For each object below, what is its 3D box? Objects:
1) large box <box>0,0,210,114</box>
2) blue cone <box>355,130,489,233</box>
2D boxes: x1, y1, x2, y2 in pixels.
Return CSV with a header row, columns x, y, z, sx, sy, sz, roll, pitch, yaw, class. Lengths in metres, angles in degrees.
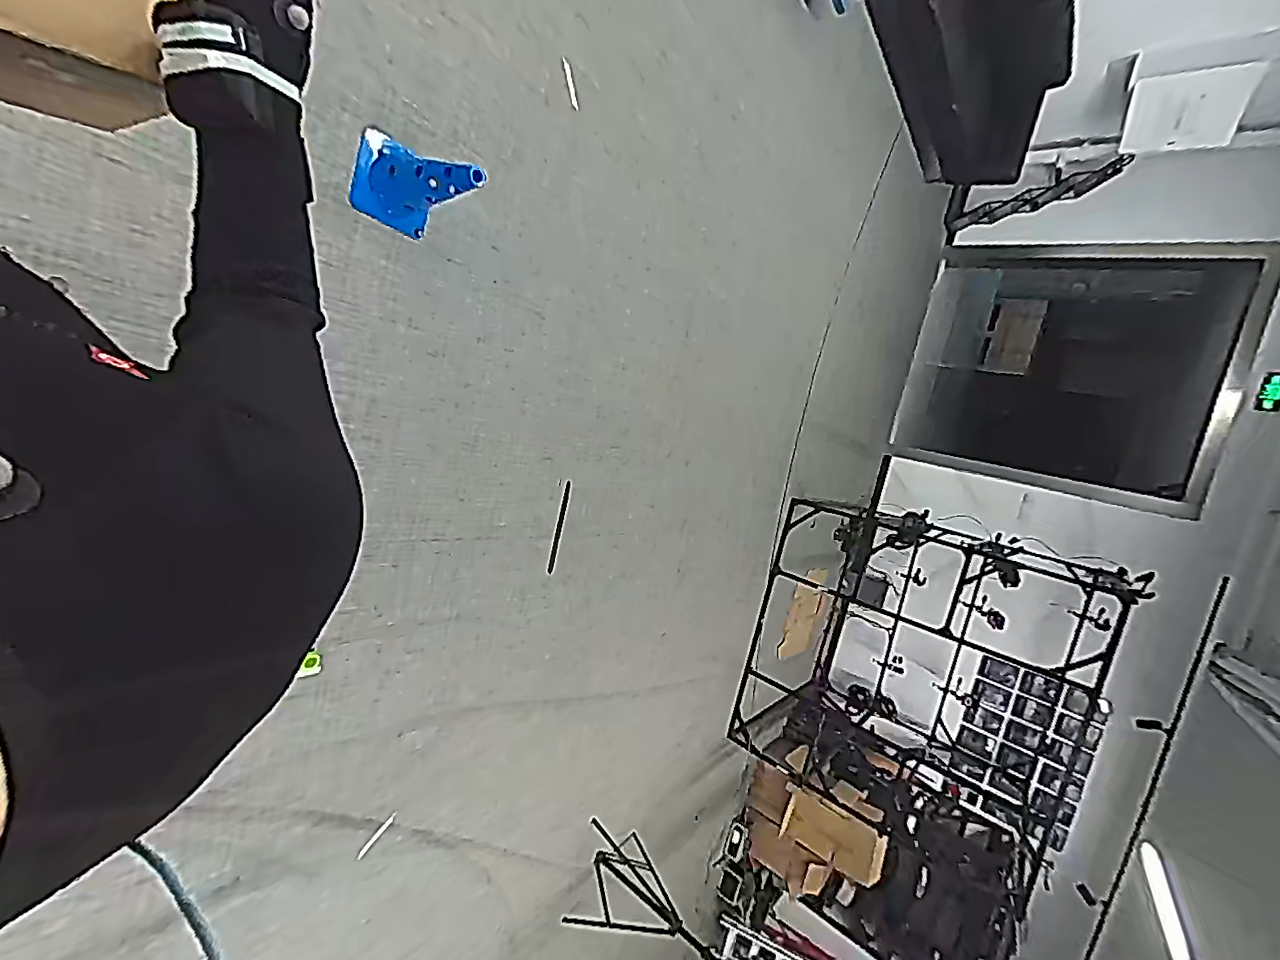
x,y,z,sx,sy,sz,roll,pitch,yaw,class
-0.523,-0.448,0.275,0.408,0.320,0.320,-10,116,-53,large box
-0.504,-0.726,1.307,0.192,0.380,0.193,12,95,-55,blue cone
